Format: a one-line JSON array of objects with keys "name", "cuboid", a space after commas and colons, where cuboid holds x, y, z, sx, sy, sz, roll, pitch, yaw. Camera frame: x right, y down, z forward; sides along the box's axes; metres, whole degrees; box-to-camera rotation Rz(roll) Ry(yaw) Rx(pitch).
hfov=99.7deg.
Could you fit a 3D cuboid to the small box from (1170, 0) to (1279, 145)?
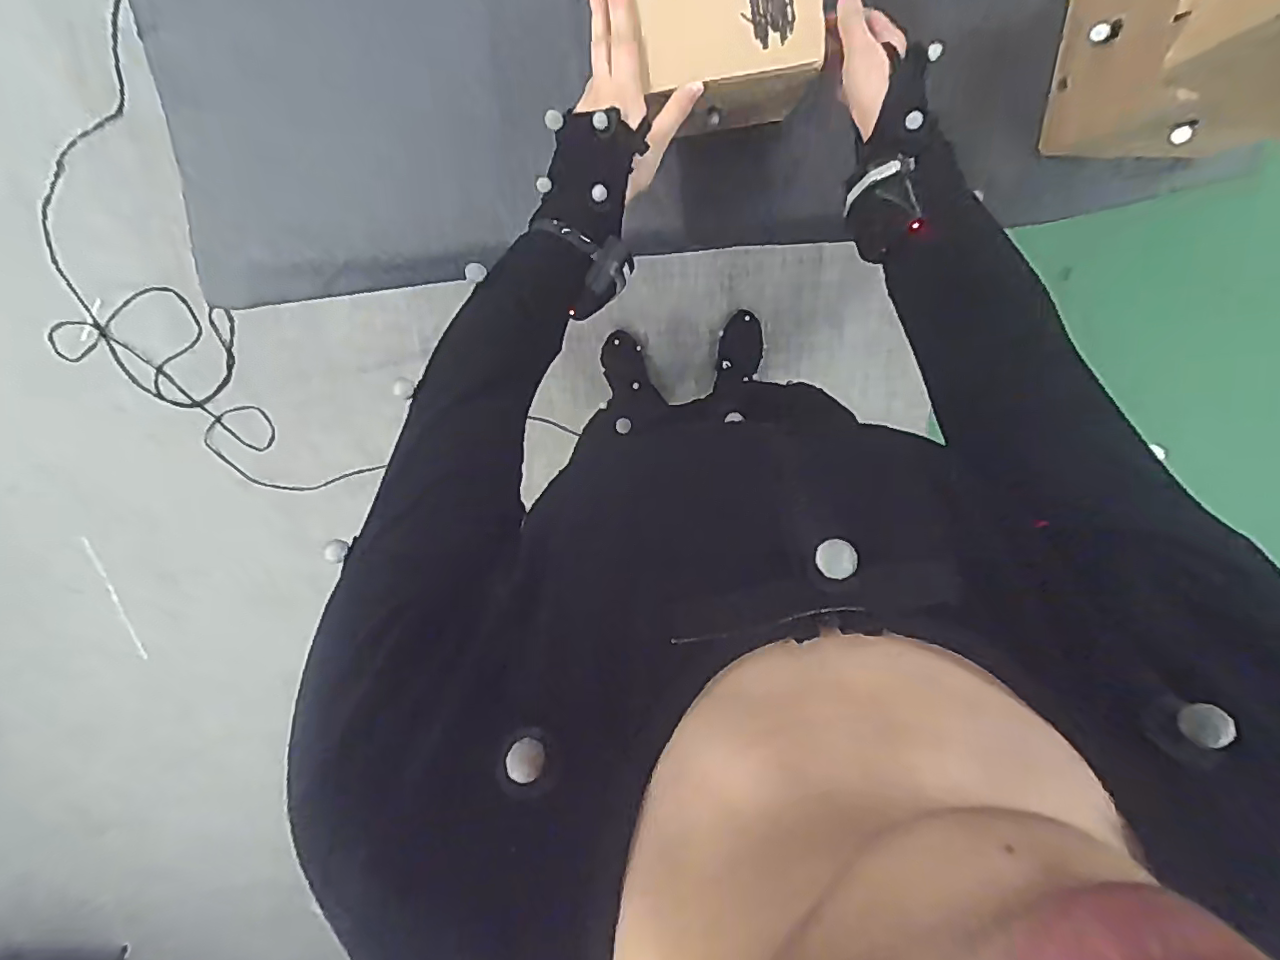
[{"name": "small box", "cuboid": [0.519, -0.336, 0.342, 0.179, 0.176, 0.168, 22, 107, -5]}]
